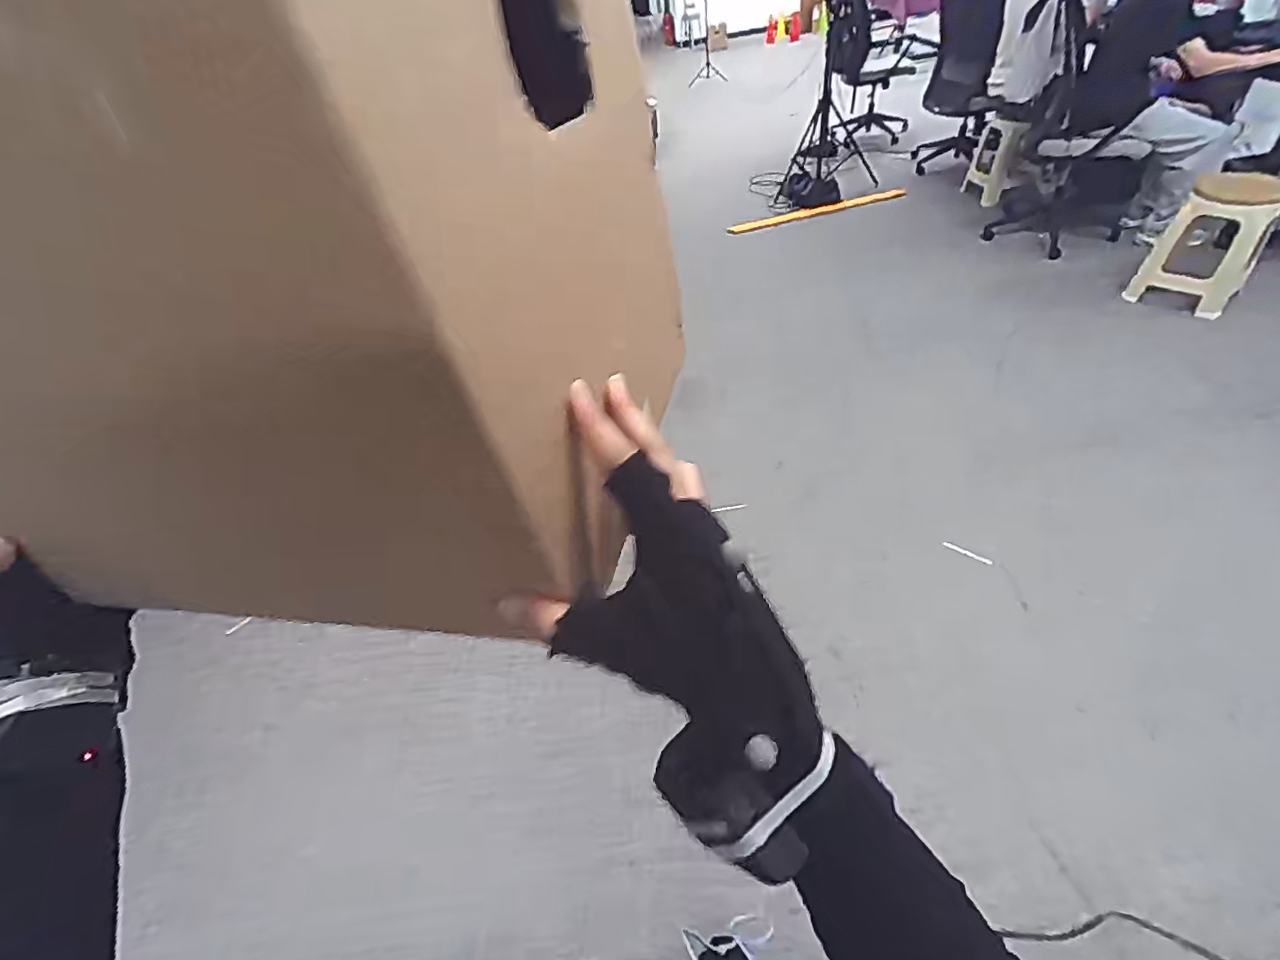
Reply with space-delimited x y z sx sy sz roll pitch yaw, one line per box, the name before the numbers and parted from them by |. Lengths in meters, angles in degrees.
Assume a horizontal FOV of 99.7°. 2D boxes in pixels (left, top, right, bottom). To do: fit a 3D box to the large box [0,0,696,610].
large box | -0.195 -0.134 0.356 0.408 0.320 0.320 -1 40 16
